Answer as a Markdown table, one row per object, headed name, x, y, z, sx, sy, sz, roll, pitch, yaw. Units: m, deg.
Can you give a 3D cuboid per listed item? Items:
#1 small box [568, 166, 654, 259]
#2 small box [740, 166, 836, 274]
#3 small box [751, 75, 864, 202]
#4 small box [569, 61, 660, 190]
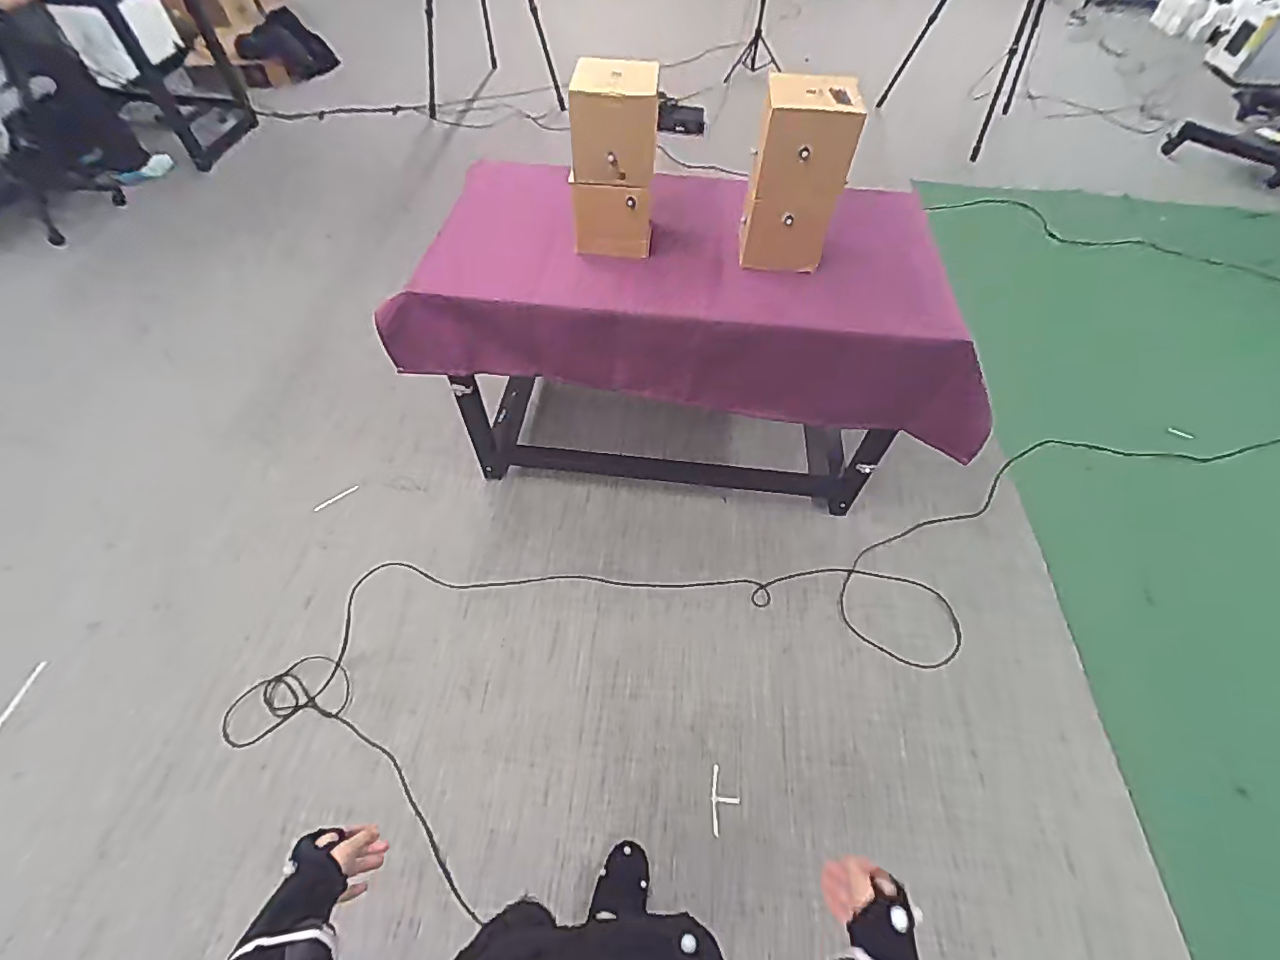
| name | x | y | z | sx | sy | sz | roll | pitch | yaw |
| --- | --- | --- | --- | --- | --- | --- | --- | --- | --- |
| small box | -0.062 | -0.633 | 1.251 | 0.179 | 0.176 | 0.168 | 5 | 55 | 1 |
| small box | 0.327 | -0.592 | 1.231 | 0.179 | 0.176 | 0.168 | 6 | 55 | 2 |
| small box | 0.330 | -0.688 | 1.098 | 0.179 | 0.176 | 0.168 | 5 | 55 | 3 |
| small box | -0.050 | -0.731 | 1.119 | 0.168 | 0.176 | 0.179 | 4 | 54 | 1 |
